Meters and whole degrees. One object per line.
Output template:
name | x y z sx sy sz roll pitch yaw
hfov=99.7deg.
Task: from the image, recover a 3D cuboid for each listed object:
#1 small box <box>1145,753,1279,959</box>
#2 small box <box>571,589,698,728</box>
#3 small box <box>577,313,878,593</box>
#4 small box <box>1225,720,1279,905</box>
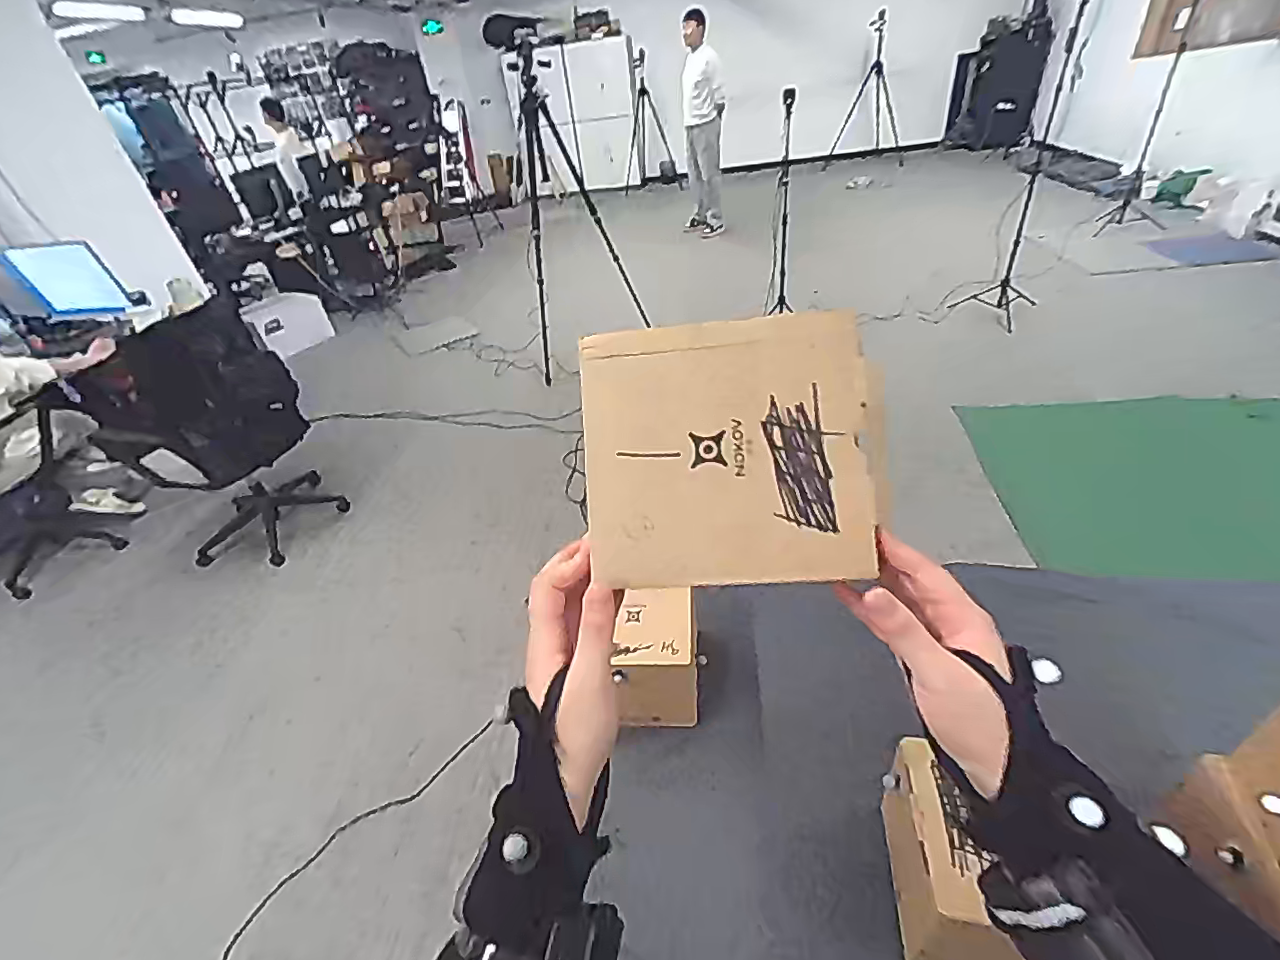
small box | 0.648 0.395 0.516 0.168 0.176 0.179 -1 37 13
small box | 0.001 0.256 0.837 0.168 0.176 0.179 -3 38 8
small box | 0.058 -0.013 0.405 0.179 0.168 0.176 -3 -3 7
small box | 0.625 0.275 0.409 0.179 0.176 0.168 6 38 21
